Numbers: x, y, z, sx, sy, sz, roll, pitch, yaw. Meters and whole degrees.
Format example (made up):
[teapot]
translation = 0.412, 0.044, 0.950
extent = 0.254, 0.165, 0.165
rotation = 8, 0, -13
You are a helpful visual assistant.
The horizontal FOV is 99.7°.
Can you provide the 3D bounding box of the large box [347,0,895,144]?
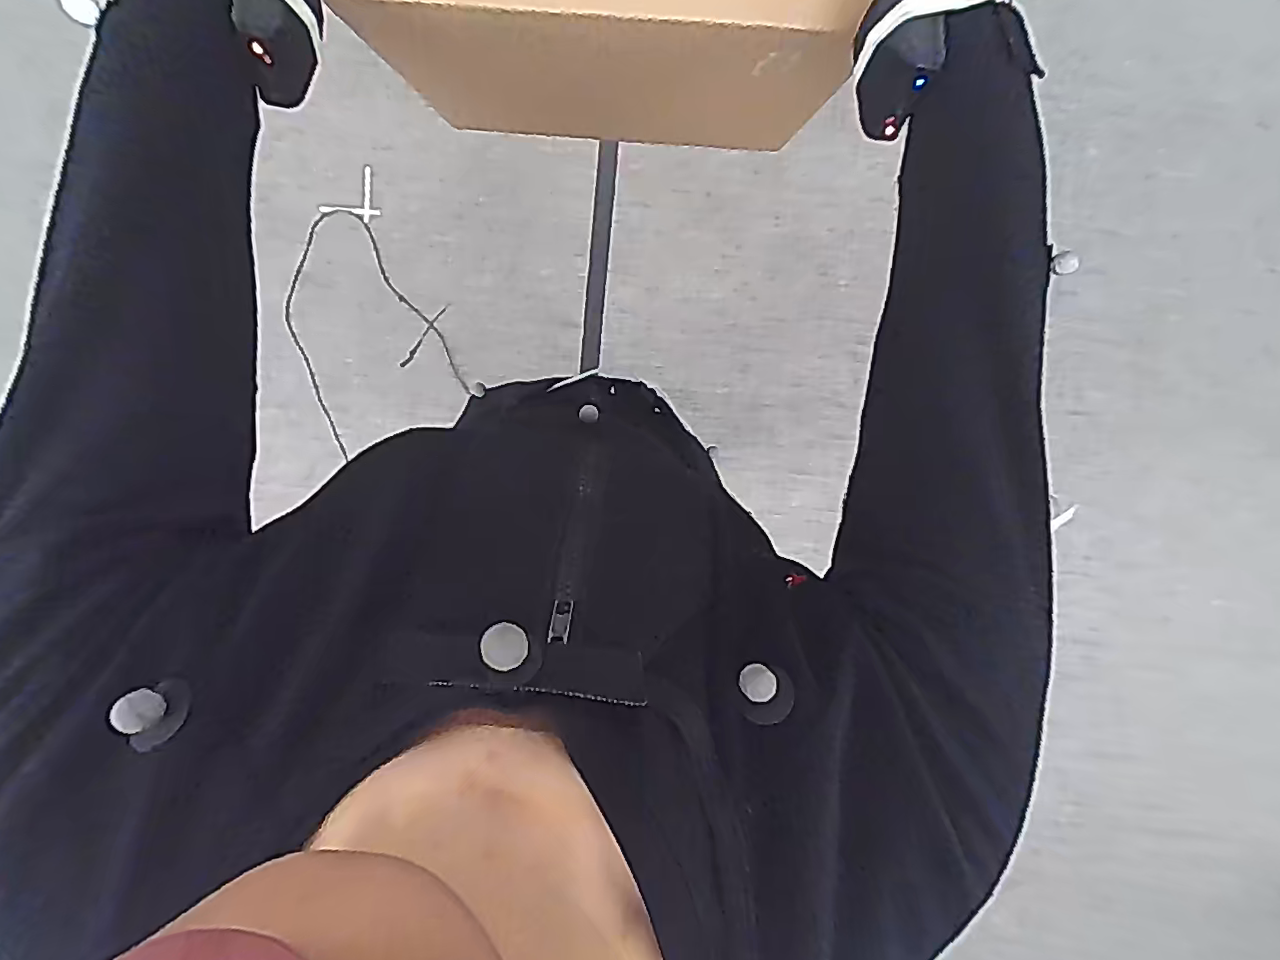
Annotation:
[large box]
translation = -0.015, -0.520, 0.478
extent = 0.408, 0.320, 0.320
rotation = 3, 109, -2
